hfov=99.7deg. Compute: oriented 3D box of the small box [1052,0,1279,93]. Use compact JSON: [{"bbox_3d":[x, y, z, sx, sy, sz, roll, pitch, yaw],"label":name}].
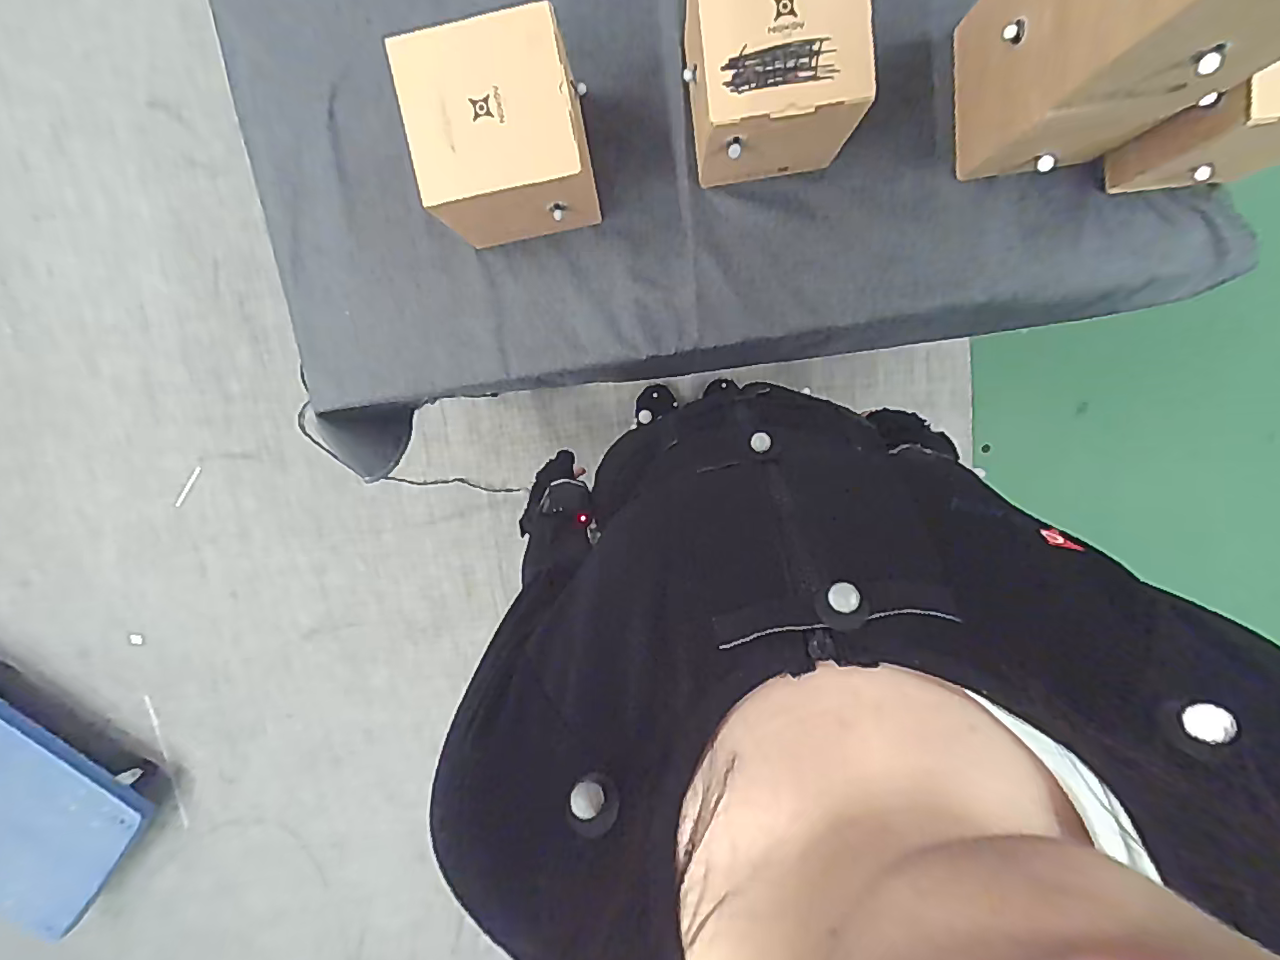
[{"bbox_3d":[0.465,-0.440,0.426,0.168,0.176,0.179,-4,99,3],"label":"small box"}]
